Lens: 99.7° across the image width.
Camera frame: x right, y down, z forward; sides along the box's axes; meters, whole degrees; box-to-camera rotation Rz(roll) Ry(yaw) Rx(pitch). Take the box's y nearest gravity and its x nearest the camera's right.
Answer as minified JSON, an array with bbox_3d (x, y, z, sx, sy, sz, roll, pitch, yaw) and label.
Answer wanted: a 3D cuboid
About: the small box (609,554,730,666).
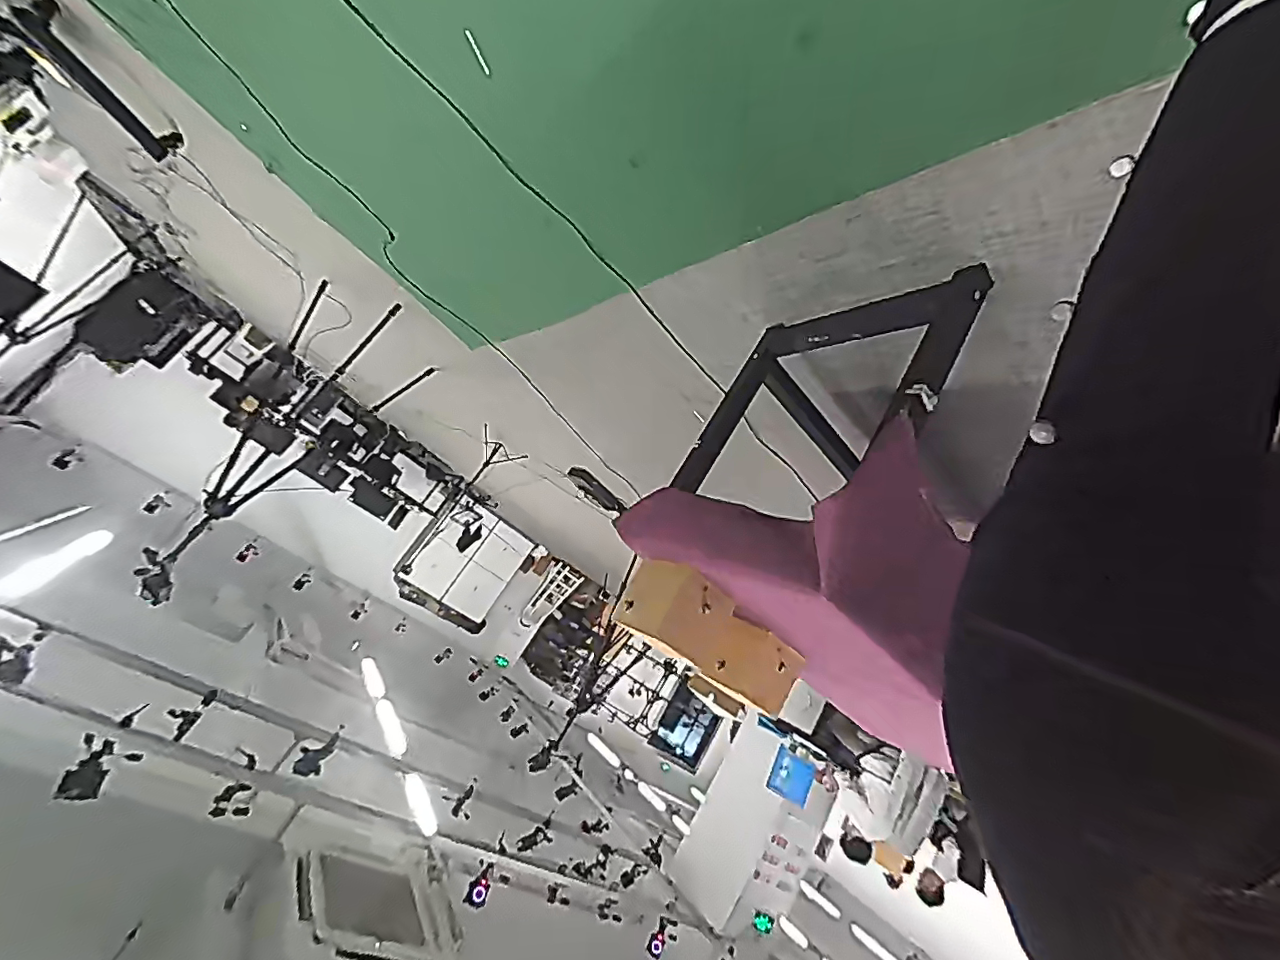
[{"bbox_3d":[0.069,0.284,1.218,0.168,0.176,0.179,41,159,-29],"label":"small box"}]

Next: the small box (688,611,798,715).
[{"bbox_3d":[0.260,0.450,1.357,0.168,0.176,0.179,41,160,-27],"label":"small box"}]
